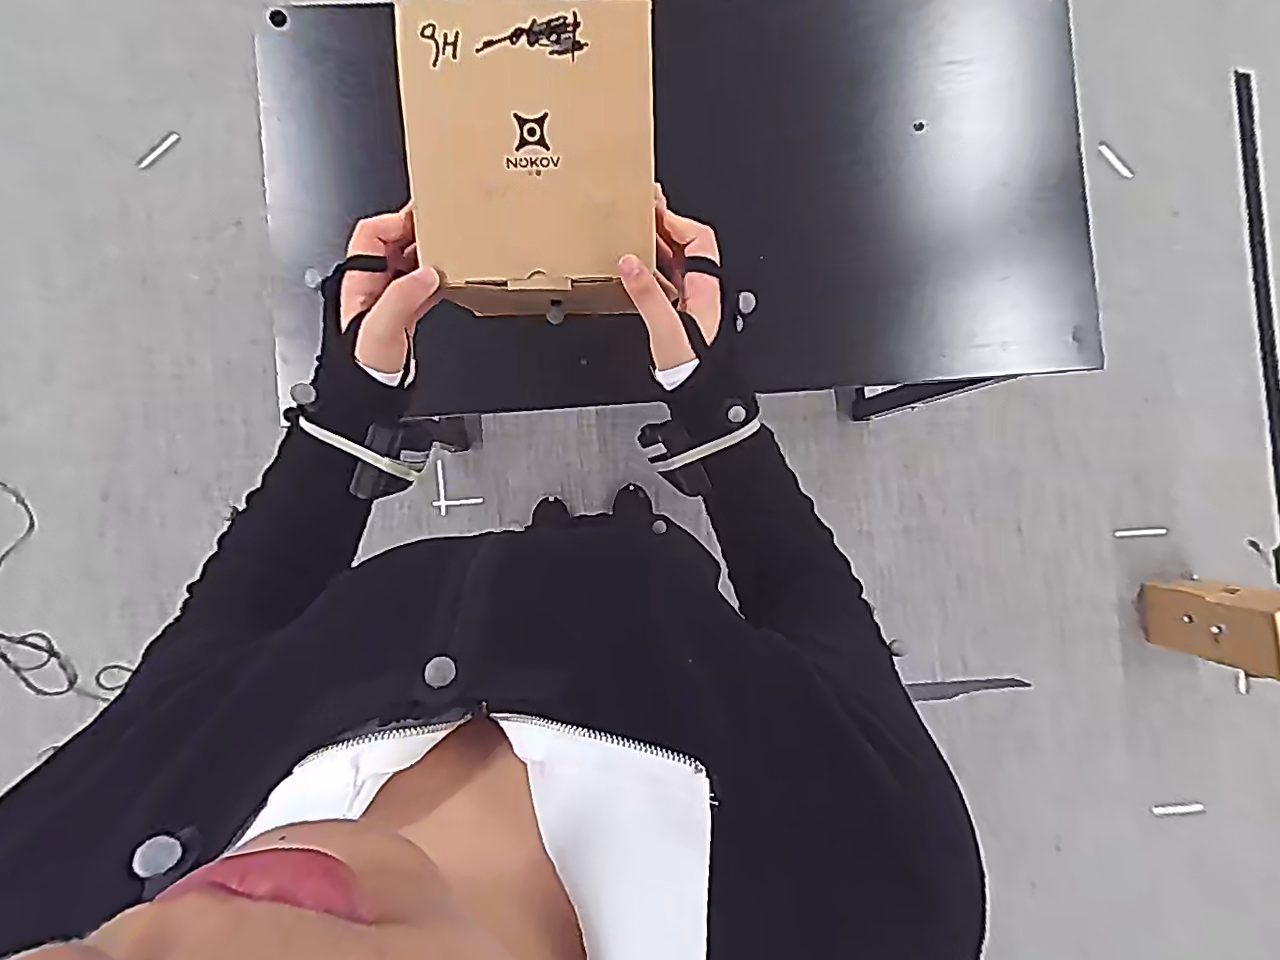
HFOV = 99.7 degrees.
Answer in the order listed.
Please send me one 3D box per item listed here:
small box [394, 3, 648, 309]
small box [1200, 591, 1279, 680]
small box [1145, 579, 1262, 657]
[{"bbox_3d":[-0.077,-0.236,0.443,0.168,0.176,0.179,-2,101,-1],"label":"small box"},{"bbox_3d":[1.538,0.372,1.313,0.179,0.176,0.168,-8,88,-1],"label":"small box"},{"bbox_3d":[1.535,0.371,1.475,0.168,0.176,0.179,-6,90,-2],"label":"small box"}]
